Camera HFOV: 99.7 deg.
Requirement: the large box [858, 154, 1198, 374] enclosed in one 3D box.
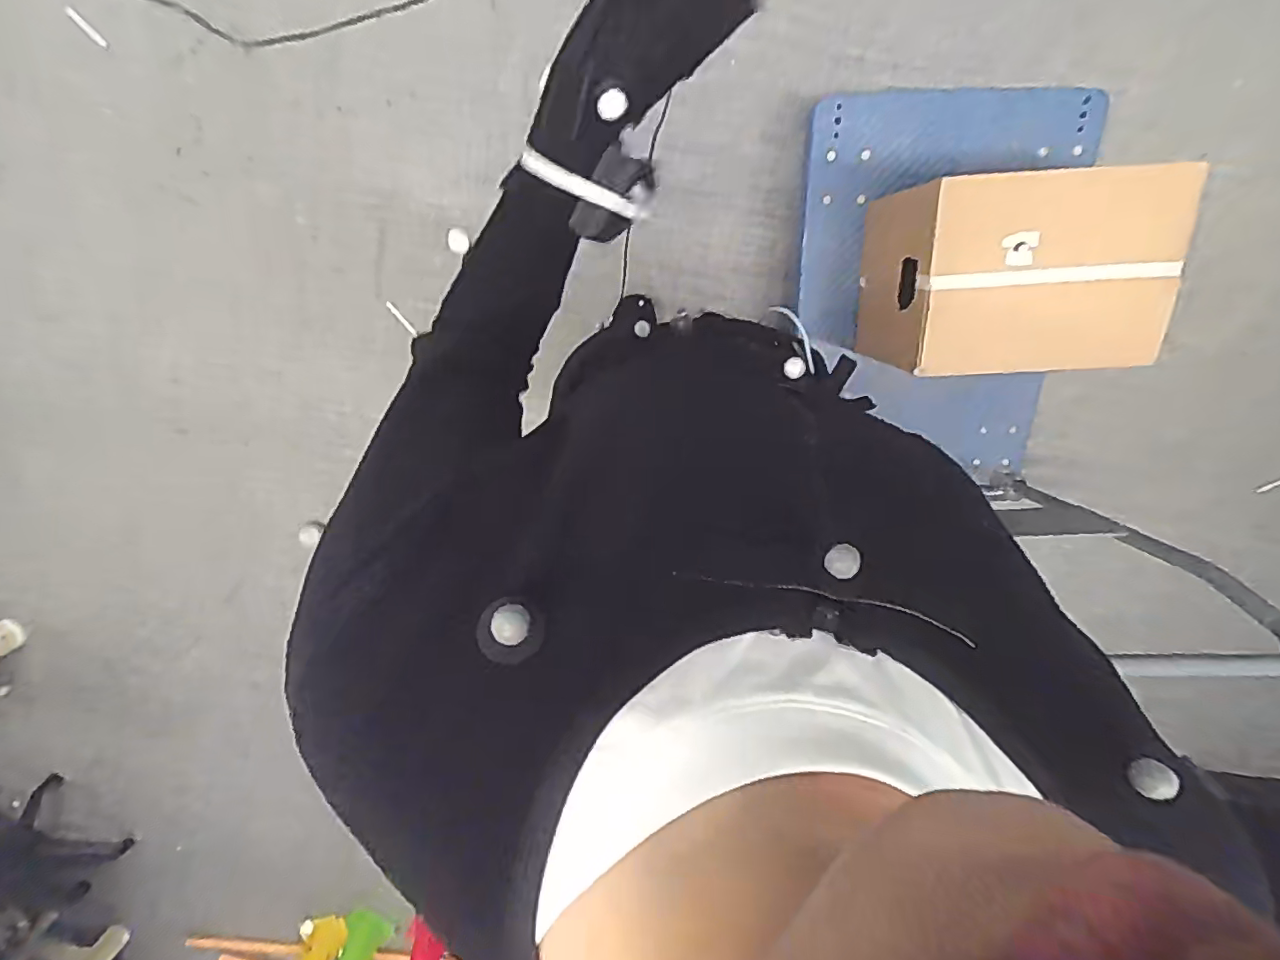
[{"bbox_3d":[0.678,-0.396,1.030,0.408,0.320,0.320,-3,110,3],"label":"large box"}]
